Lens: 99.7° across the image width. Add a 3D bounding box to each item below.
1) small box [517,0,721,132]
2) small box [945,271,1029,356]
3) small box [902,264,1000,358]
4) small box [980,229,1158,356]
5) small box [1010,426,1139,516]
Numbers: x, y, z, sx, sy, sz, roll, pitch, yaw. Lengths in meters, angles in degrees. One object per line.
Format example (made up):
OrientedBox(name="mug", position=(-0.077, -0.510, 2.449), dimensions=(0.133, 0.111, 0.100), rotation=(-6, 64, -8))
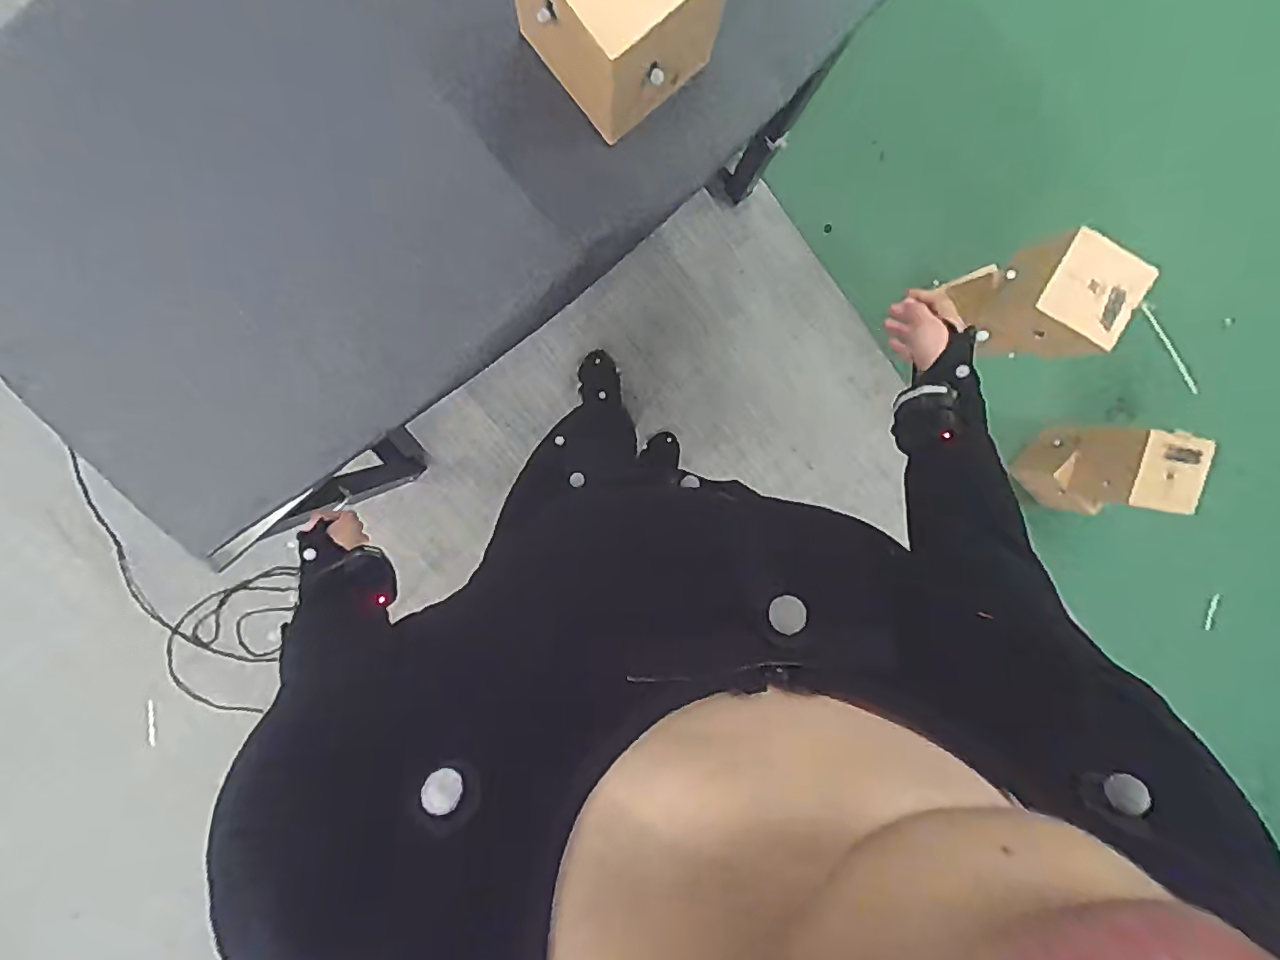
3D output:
OrientedBox(name="small box", position=(-0.023, -0.521, 0.584), dimensions=(0.168, 0.176, 0.179), rotation=(-40, 96, 2))
OrientedBox(name="small box", position=(0.825, -0.372, 1.227), dimensions=(0.179, 0.176, 0.168), rotation=(-3, 99, -4))
OrientedBox(name="small box", position=(0.801, -0.422, 1.382), dimensions=(0.179, 0.176, 0.168), rotation=(-23, 99, 0))
OrientedBox(name="small box", position=(0.829, -0.355, 1.063), dimensions=(0.179, 0.176, 0.168), rotation=(27, 97, -6))
OrientedBox(name="small box", position=(1.160, -0.032, 1.458), dimensions=(0.168, 0.176, 0.179), rotation=(41, 93, -8))
